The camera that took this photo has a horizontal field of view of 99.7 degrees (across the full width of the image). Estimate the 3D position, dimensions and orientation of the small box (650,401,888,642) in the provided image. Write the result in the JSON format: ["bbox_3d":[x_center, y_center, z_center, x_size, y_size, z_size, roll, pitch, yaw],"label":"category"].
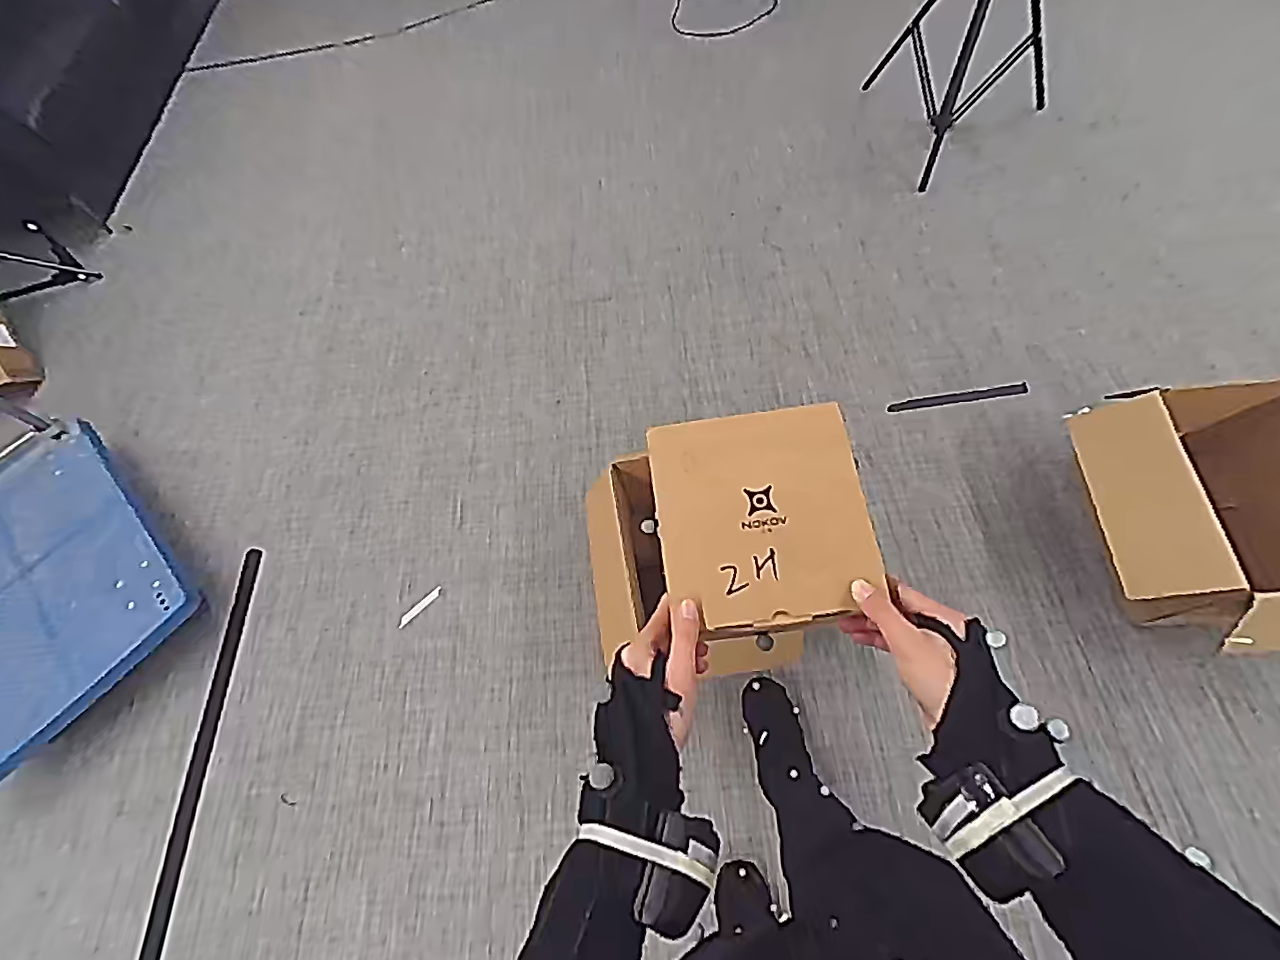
[{"bbox_3d":[0.102,0.049,0.509,0.168,0.176,0.179,-8,70,3],"label":"small box"}]
